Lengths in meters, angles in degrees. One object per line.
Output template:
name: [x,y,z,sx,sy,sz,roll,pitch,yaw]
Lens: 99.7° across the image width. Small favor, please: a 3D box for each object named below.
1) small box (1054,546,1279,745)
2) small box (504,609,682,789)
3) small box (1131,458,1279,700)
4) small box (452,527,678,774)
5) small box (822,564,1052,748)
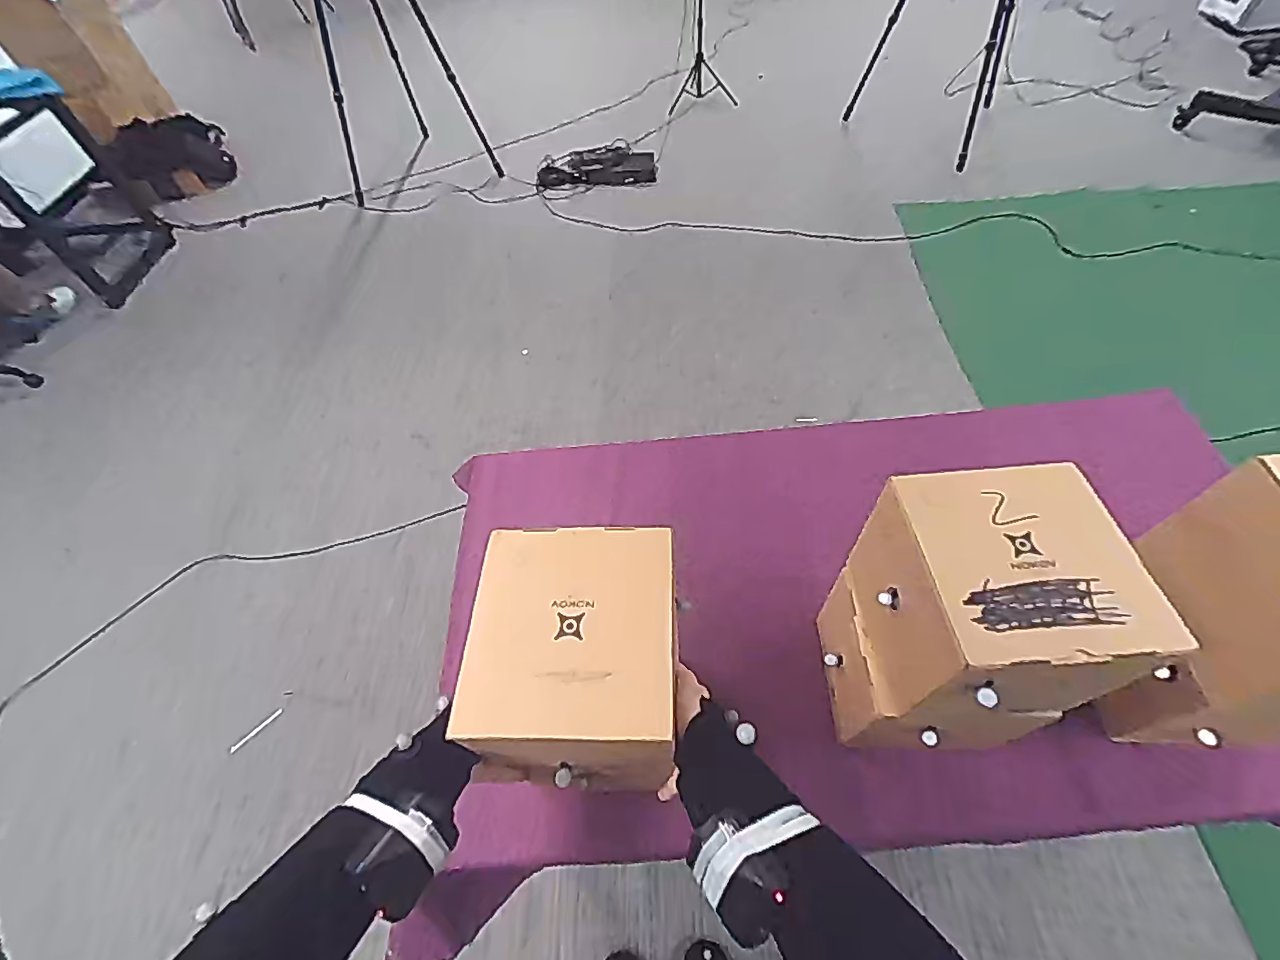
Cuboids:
small box: [0.633,0.193,0.626,0.168,0.176,0.179,-1,54,5]
small box: [-0.041,0.259,0.634,0.179,0.176,0.168,-1,54,3]
small box: [0.622,0.096,0.493,0.168,0.176,0.179,-1,54,3]
small box: [-0.049,0.161,0.505,0.168,0.176,0.179,-1,54,5]
small box: [0.322,0.211,0.638,0.179,0.176,0.168,-1,54,5]
